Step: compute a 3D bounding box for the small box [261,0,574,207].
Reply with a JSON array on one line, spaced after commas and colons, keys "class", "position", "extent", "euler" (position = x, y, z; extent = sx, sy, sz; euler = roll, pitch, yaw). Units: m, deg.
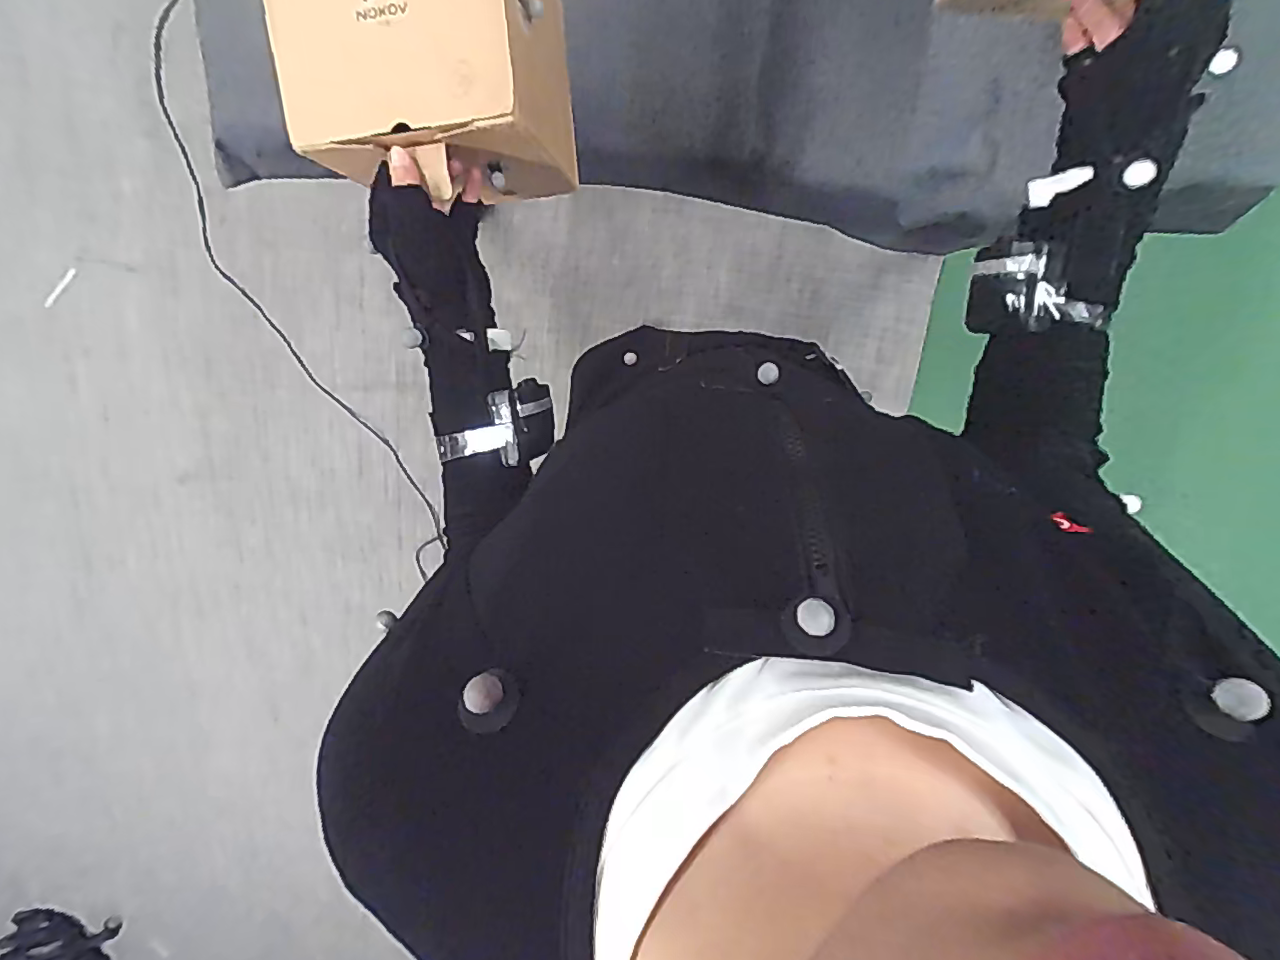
[{"class": "small box", "position": [-0.154, -0.328, 0.419], "extent": [0.168, 0.176, 0.179], "euler": [-3, 101, 8]}]
